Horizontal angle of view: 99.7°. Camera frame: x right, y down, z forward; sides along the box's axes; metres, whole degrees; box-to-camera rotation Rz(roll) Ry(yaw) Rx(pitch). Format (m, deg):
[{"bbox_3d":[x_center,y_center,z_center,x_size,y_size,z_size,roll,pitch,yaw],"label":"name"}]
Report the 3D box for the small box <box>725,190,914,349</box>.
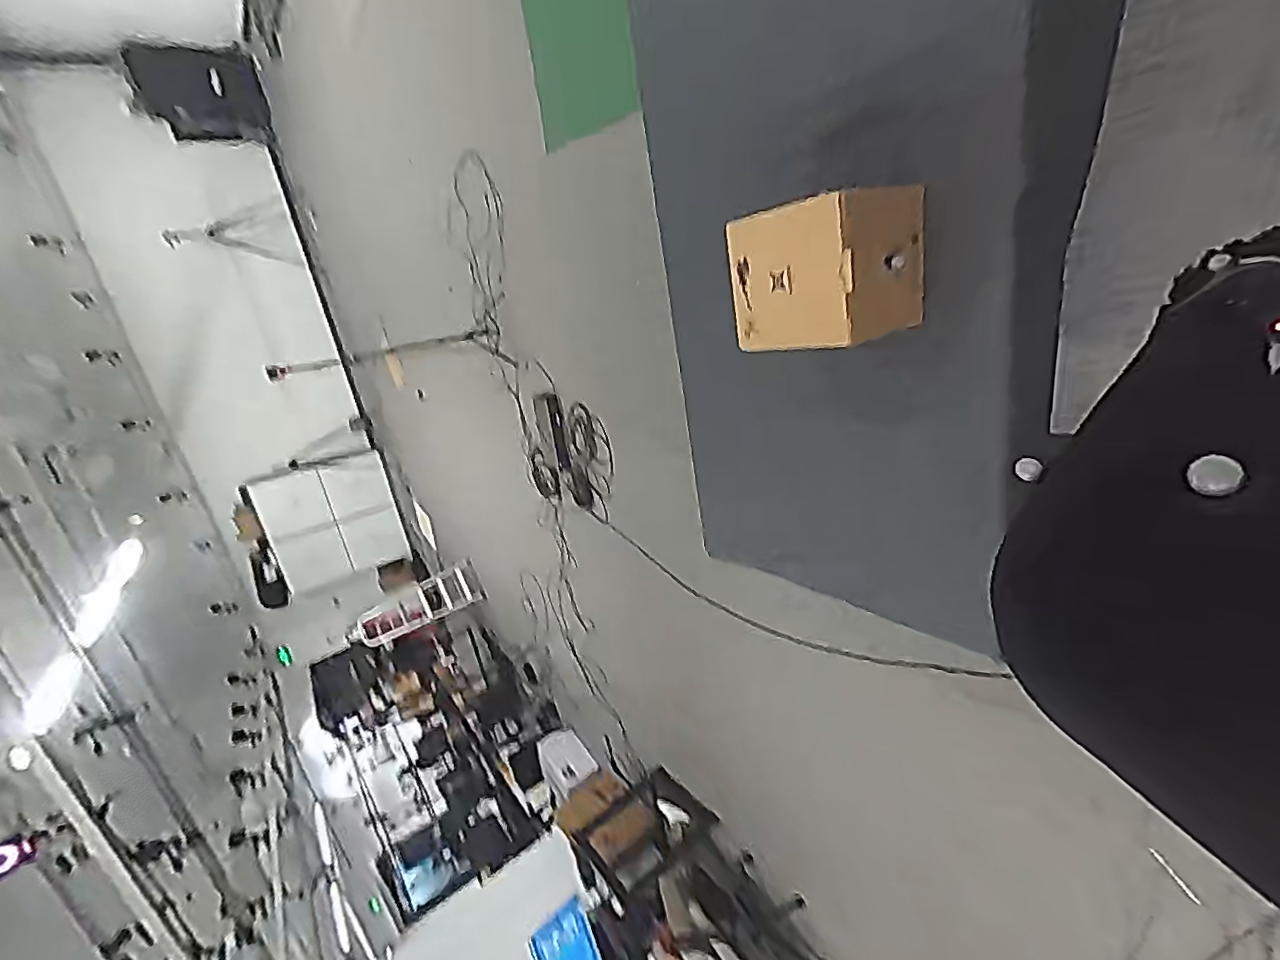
[{"bbox_3d":[0.242,-0.274,0.717,0.179,0.176,0.168,15,121,52],"label":"small box"}]
